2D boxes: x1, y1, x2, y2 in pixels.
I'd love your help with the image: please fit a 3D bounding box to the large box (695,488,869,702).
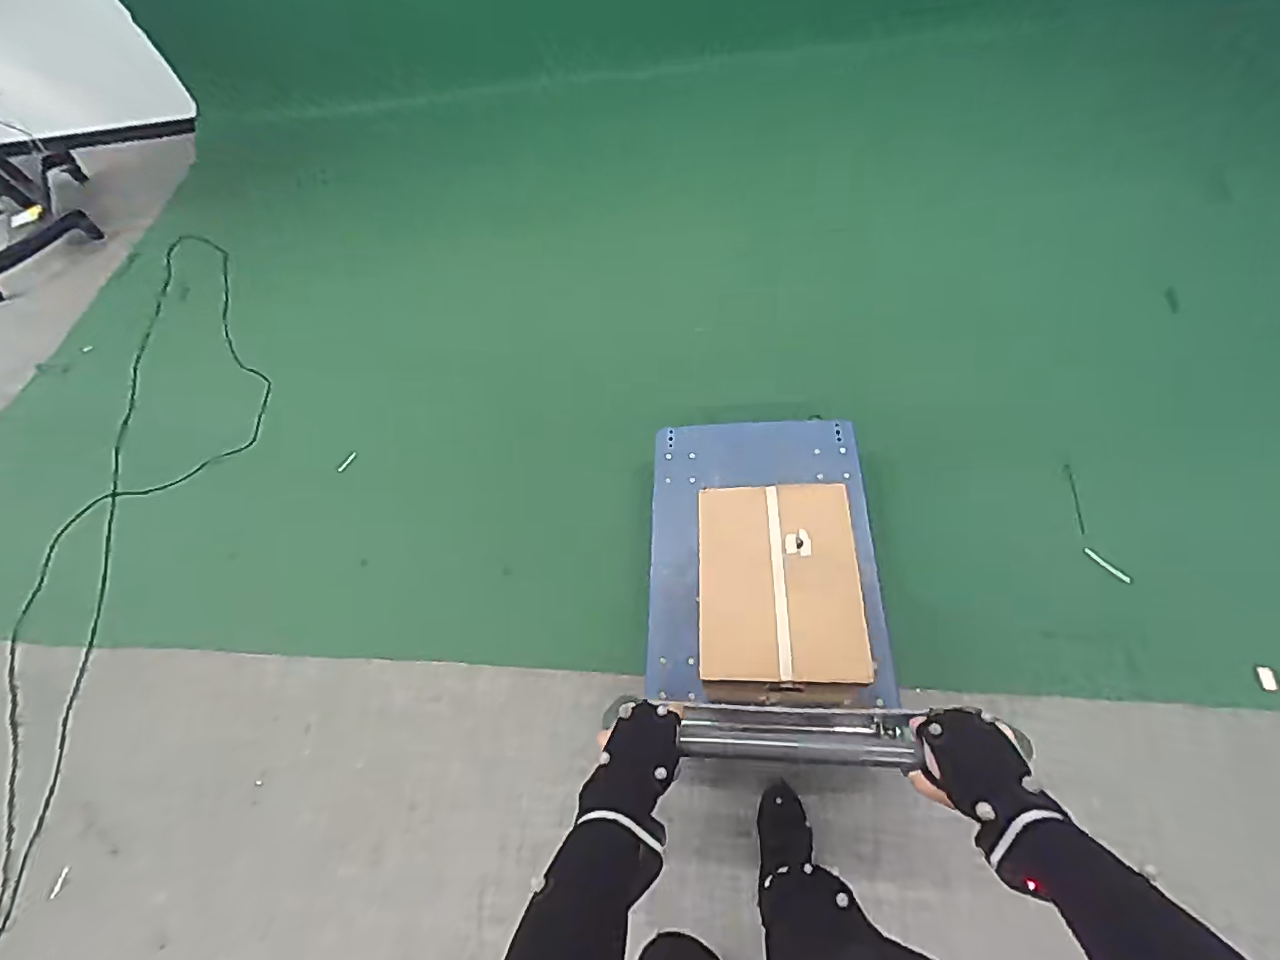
[{"bbox_3d":[0.296,0.271,1.221,0.320,0.320,0.408,-2,61,9],"label":"large box"}]
